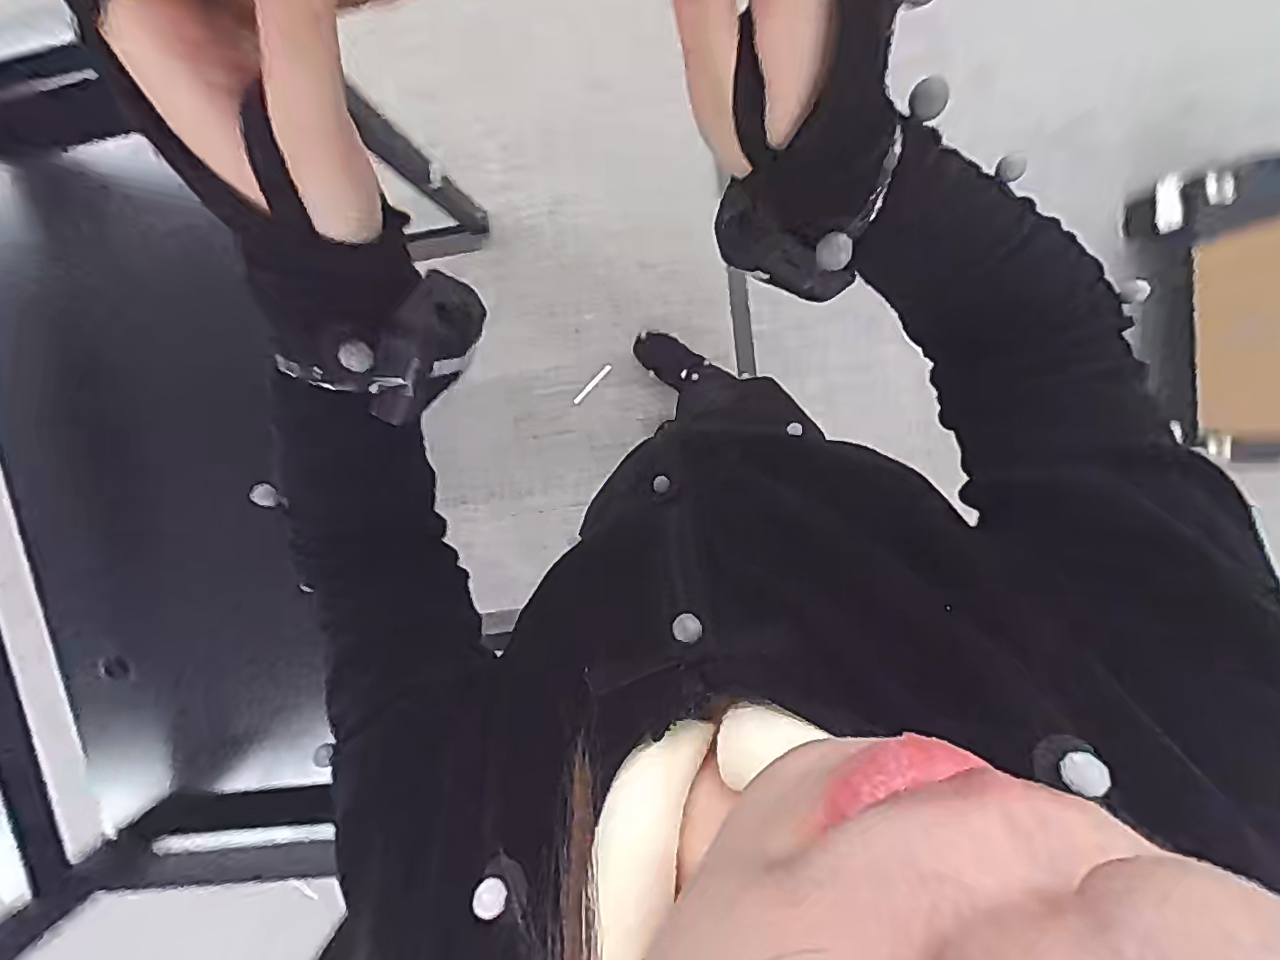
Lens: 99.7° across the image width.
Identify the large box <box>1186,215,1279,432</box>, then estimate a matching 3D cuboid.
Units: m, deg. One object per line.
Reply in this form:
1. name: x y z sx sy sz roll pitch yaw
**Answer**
1. large box: 1.344 -0.315 1.022 0.320 0.320 0.408 -10 96 4
